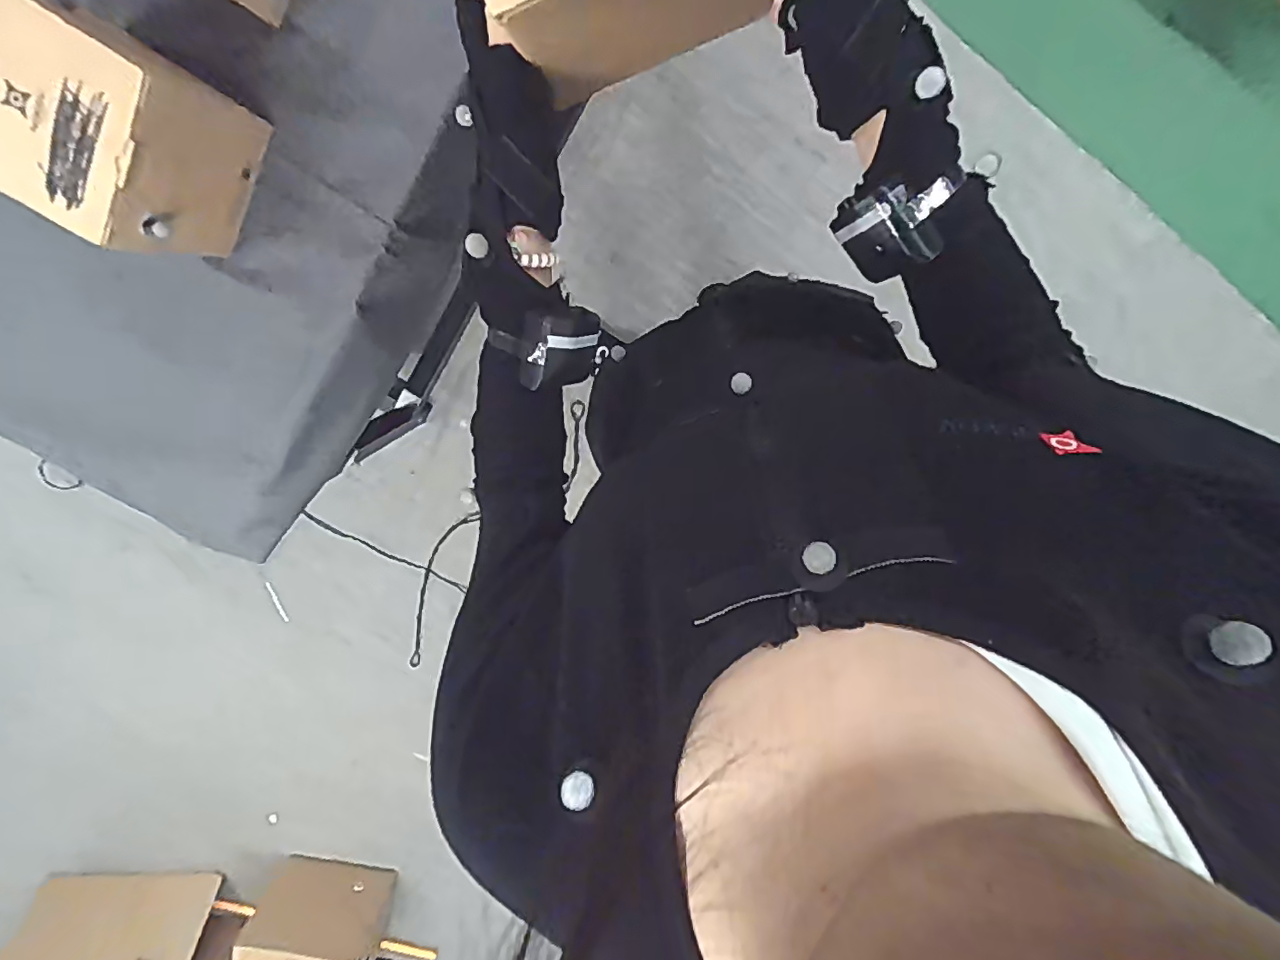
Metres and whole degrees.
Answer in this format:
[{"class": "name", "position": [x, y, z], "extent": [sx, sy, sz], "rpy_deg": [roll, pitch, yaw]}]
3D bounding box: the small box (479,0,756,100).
[{"class": "small box", "position": [-0.019, -0.355, 0.304], "extent": [0.179, 0.176, 0.168], "rpy_deg": [-19, 109, 8]}]

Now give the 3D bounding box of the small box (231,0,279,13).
[{"class": "small box", "position": [-0.422, -0.570, 0.476], "extent": [0.179, 0.176, 0.168], "rpy_deg": [31, 107, -9]}]
